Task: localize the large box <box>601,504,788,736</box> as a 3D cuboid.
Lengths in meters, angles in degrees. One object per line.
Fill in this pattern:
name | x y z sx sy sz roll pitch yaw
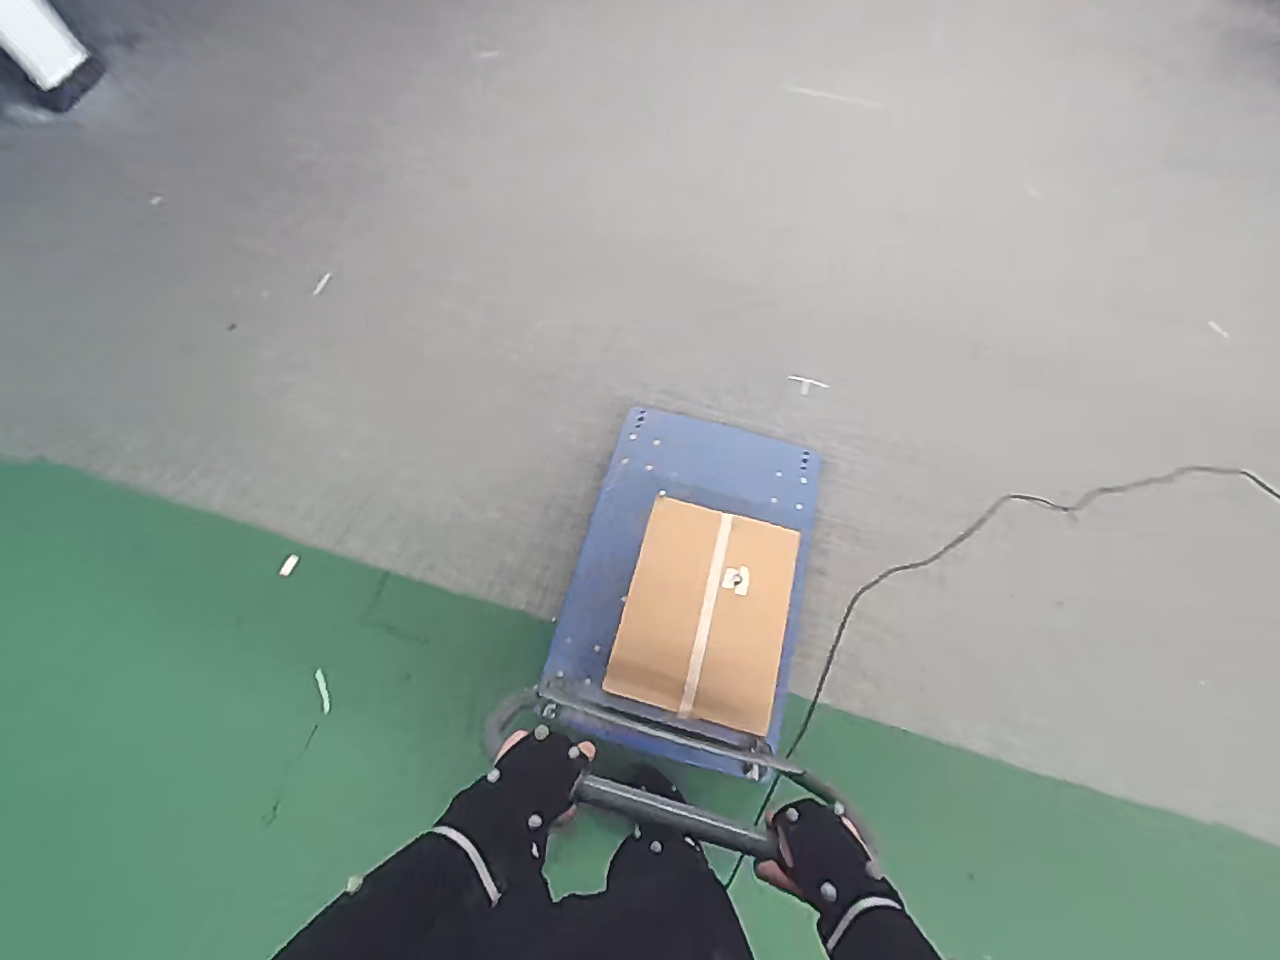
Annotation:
large box | 0.114 0.322 1.205 0.320 0.320 0.408 14 66 3
